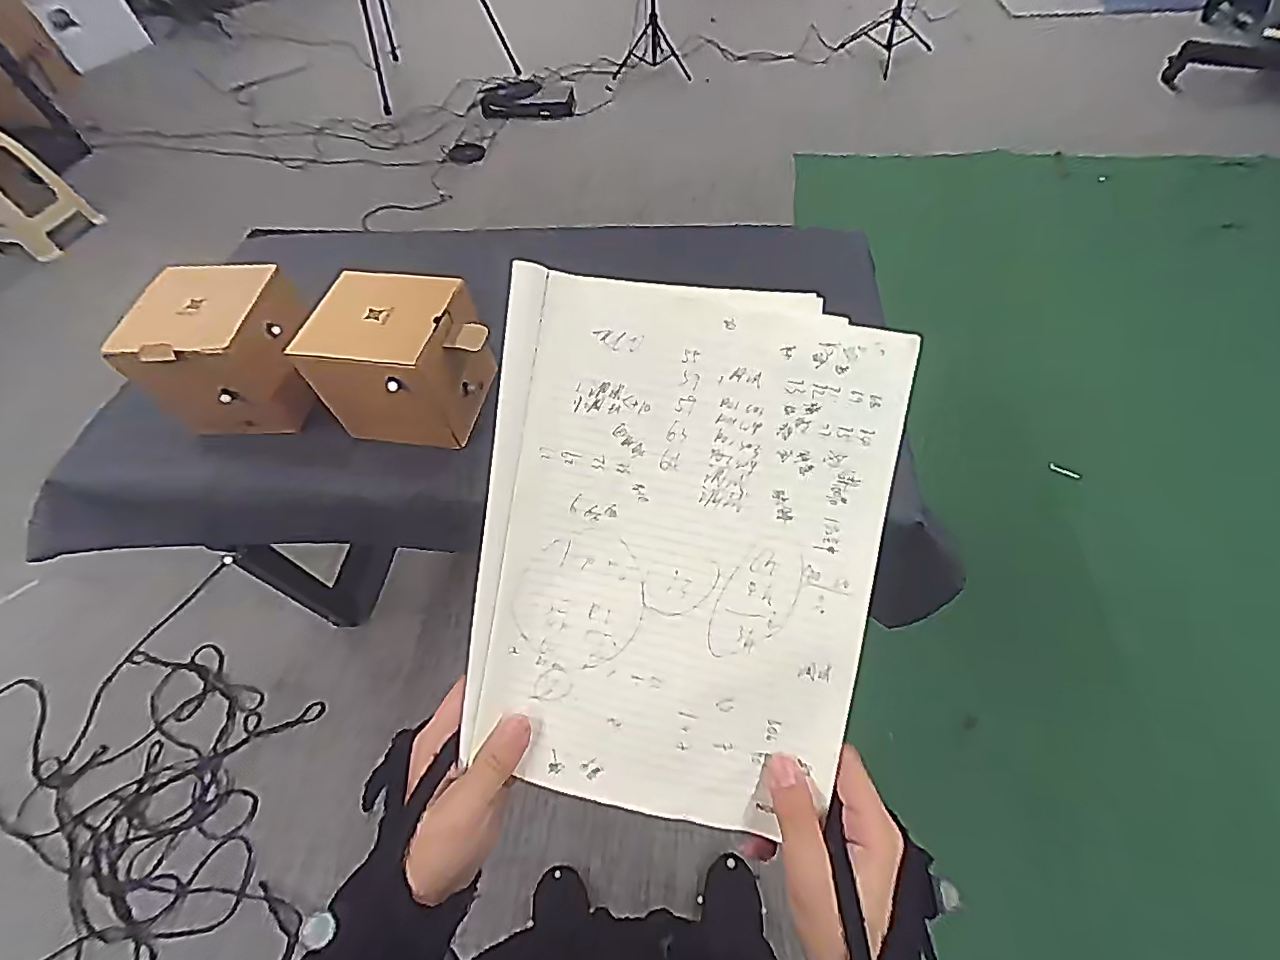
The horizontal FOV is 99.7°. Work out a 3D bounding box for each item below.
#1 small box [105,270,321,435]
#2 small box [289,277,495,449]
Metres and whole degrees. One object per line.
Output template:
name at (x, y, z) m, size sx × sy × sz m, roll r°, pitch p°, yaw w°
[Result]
small box at (-0.584, -0.178, 0.784) m, size 0.168 × 0.176 × 0.179 m, roll -1°, pitch 55°, yaw 2°
small box at (-0.327, -0.159, 0.755) m, size 0.179 × 0.176 × 0.168 m, roll 6°, pitch 56°, yaw 7°
